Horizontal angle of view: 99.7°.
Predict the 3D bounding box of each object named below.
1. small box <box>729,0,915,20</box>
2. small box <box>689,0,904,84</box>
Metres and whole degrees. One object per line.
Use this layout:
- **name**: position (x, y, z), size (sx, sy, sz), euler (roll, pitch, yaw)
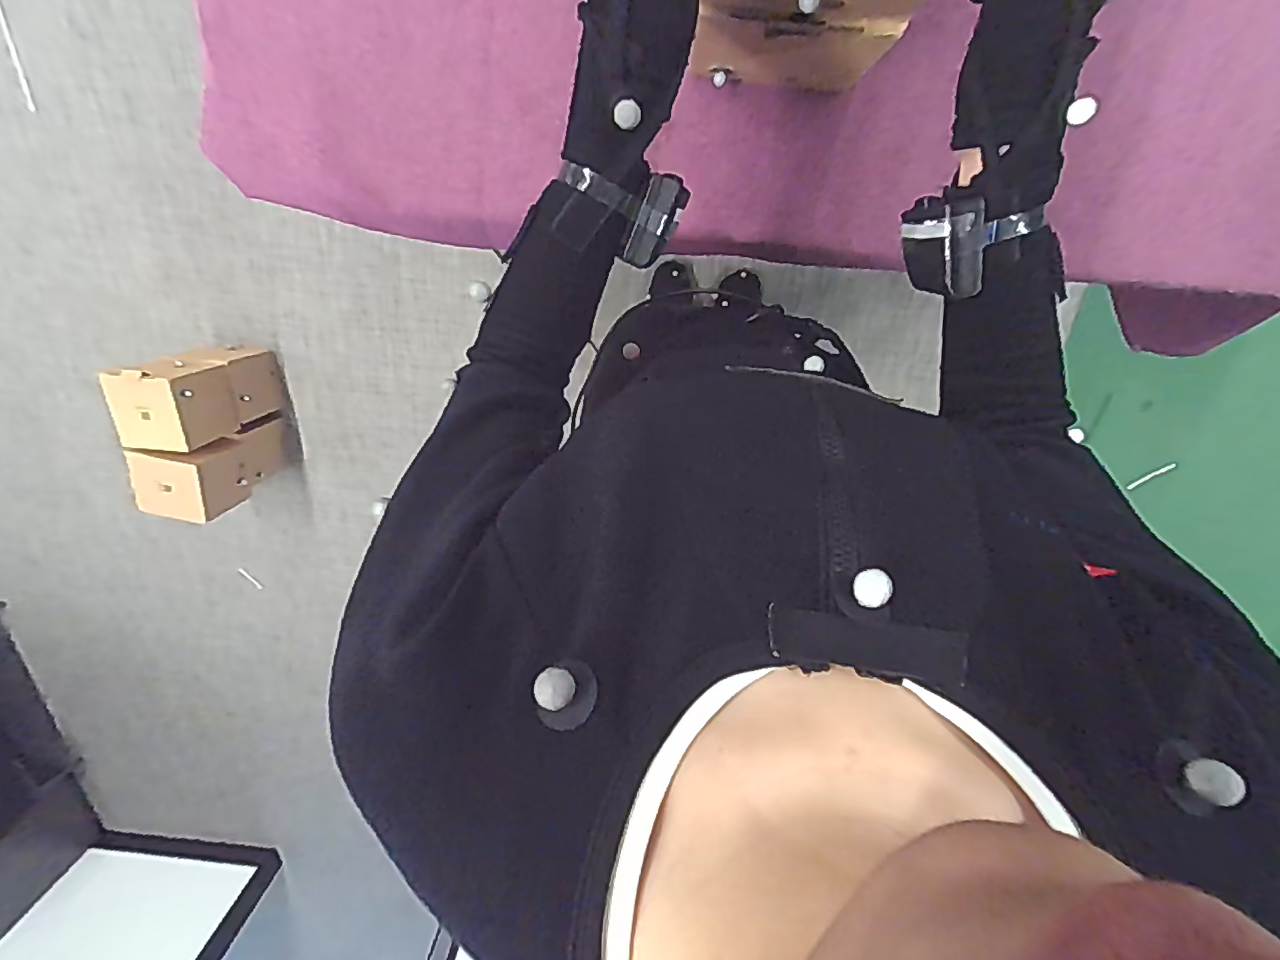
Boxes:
- **small box**: position (0.123, -0.406, 0.304), size (0.168, 0.176, 0.179), euler (8, 115, 2)
- **small box**: position (0.137, -0.464, 0.457), size (0.168, 0.176, 0.179), euler (8, 113, 2)
